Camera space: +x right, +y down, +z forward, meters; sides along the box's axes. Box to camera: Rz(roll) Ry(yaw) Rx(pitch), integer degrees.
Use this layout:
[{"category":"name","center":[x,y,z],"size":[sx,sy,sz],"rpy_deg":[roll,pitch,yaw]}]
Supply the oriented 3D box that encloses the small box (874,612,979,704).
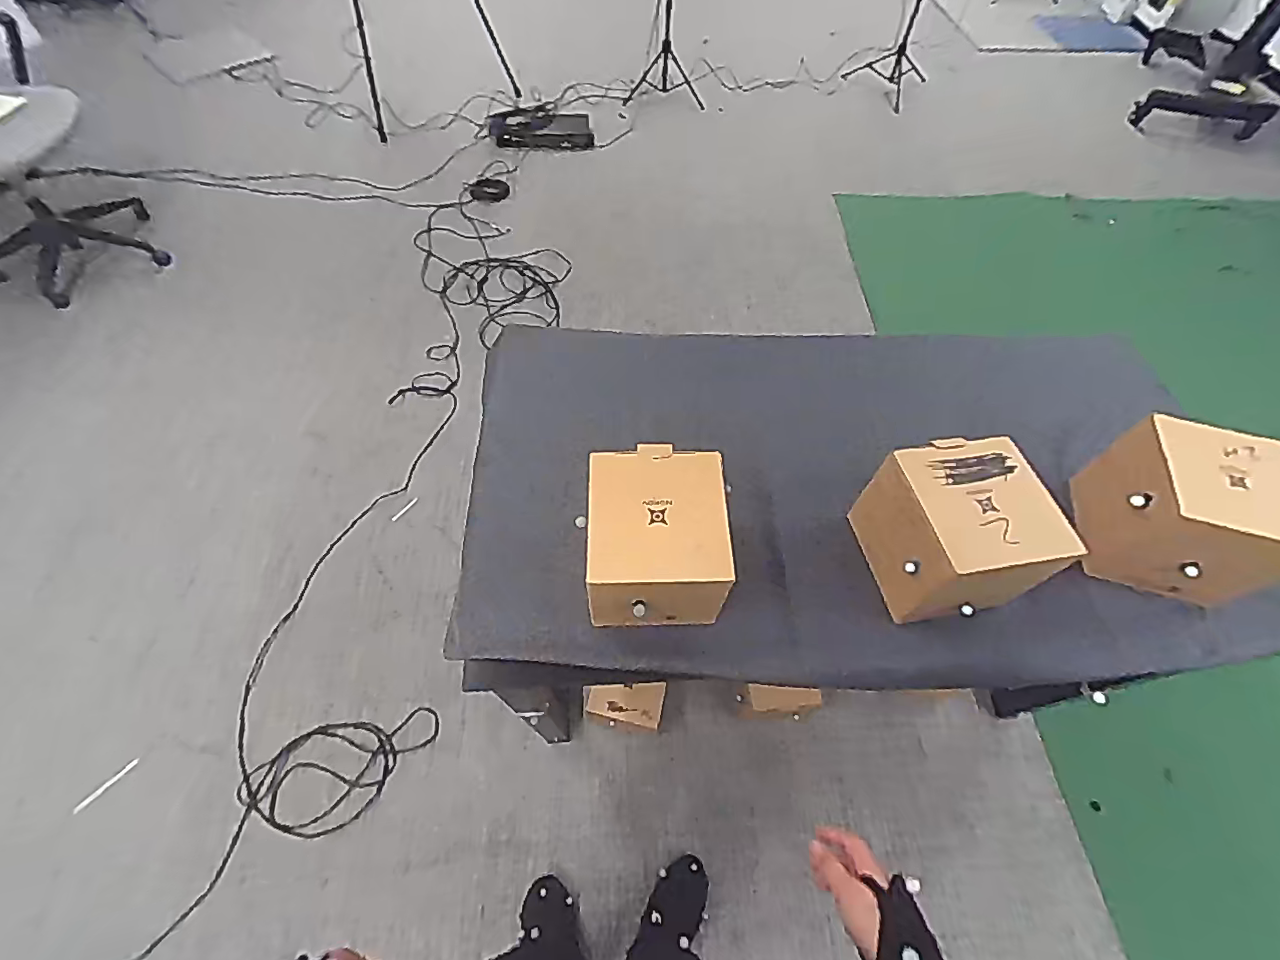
[{"category":"small box","center":[0.700,0.448,1.348],"size":[0.179,0.176,0.168],"rpy_deg":[10,58,3]}]

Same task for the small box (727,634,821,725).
[{"category":"small box","center":[0.316,0.489,1.312],"size":[0.168,0.176,0.179],"rpy_deg":[-3,57,-5]}]

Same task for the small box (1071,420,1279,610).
[{"category":"small box","center":[0.734,0.053,0.734],"size":[0.168,0.176,0.179],"rpy_deg":[16,56,8]}]

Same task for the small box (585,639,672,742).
[{"category":"small box","center":[-0.027,0.506,1.292],"size":[0.168,0.176,0.179],"rpy_deg":[13,58,6]}]

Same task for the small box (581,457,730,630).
[{"category":"small box","center":[0.016,0.088,0.695],"size":[0.168,0.176,0.179],"rpy_deg":[-1,58,-2]}]
